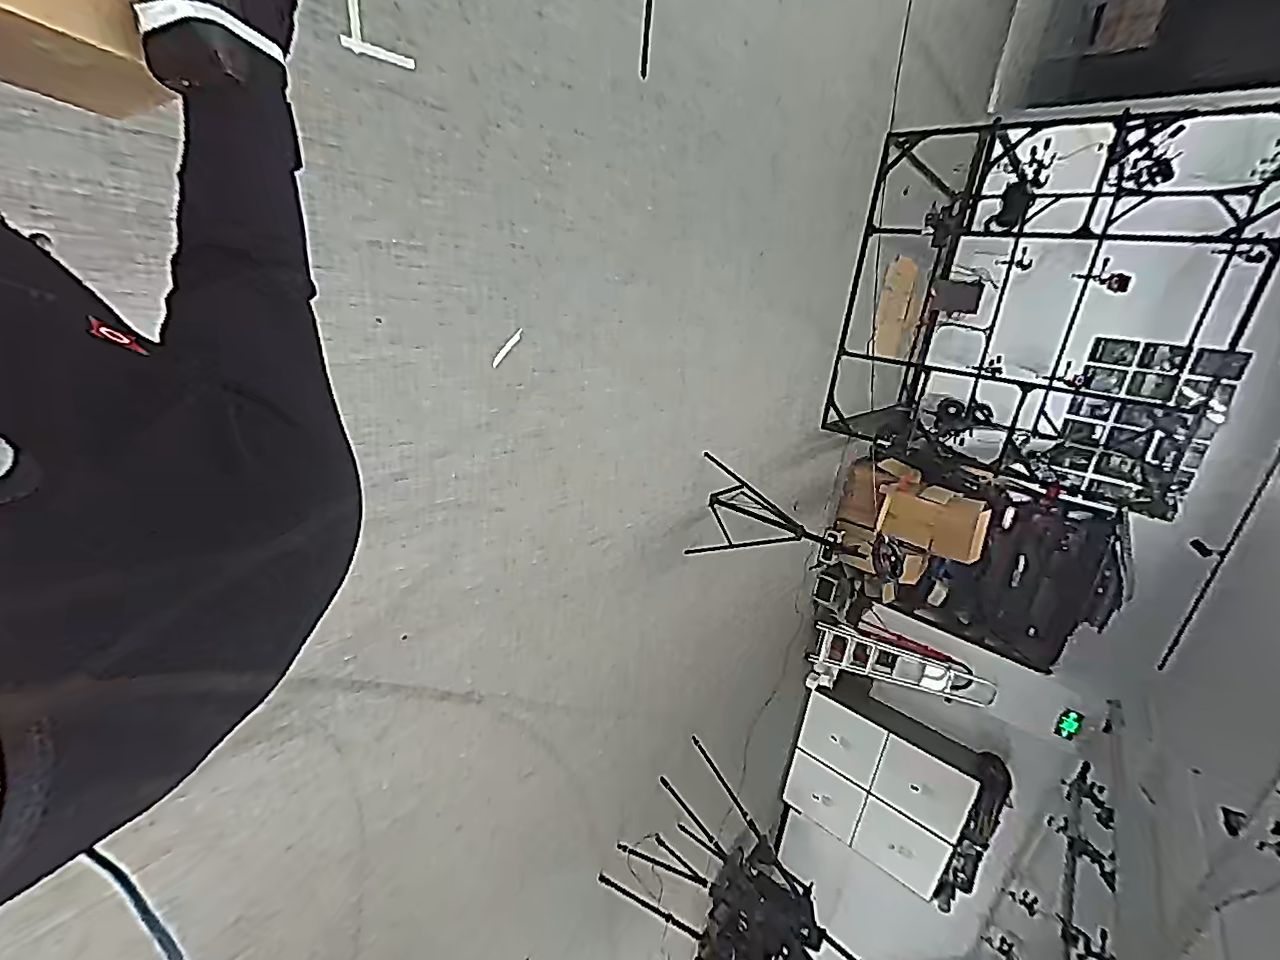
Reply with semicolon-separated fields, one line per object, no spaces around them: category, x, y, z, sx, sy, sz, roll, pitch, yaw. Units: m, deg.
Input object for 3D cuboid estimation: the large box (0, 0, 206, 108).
large box;-0.537;-0.478;0.301;0.408;0.320;0.320;-6;113;-53
